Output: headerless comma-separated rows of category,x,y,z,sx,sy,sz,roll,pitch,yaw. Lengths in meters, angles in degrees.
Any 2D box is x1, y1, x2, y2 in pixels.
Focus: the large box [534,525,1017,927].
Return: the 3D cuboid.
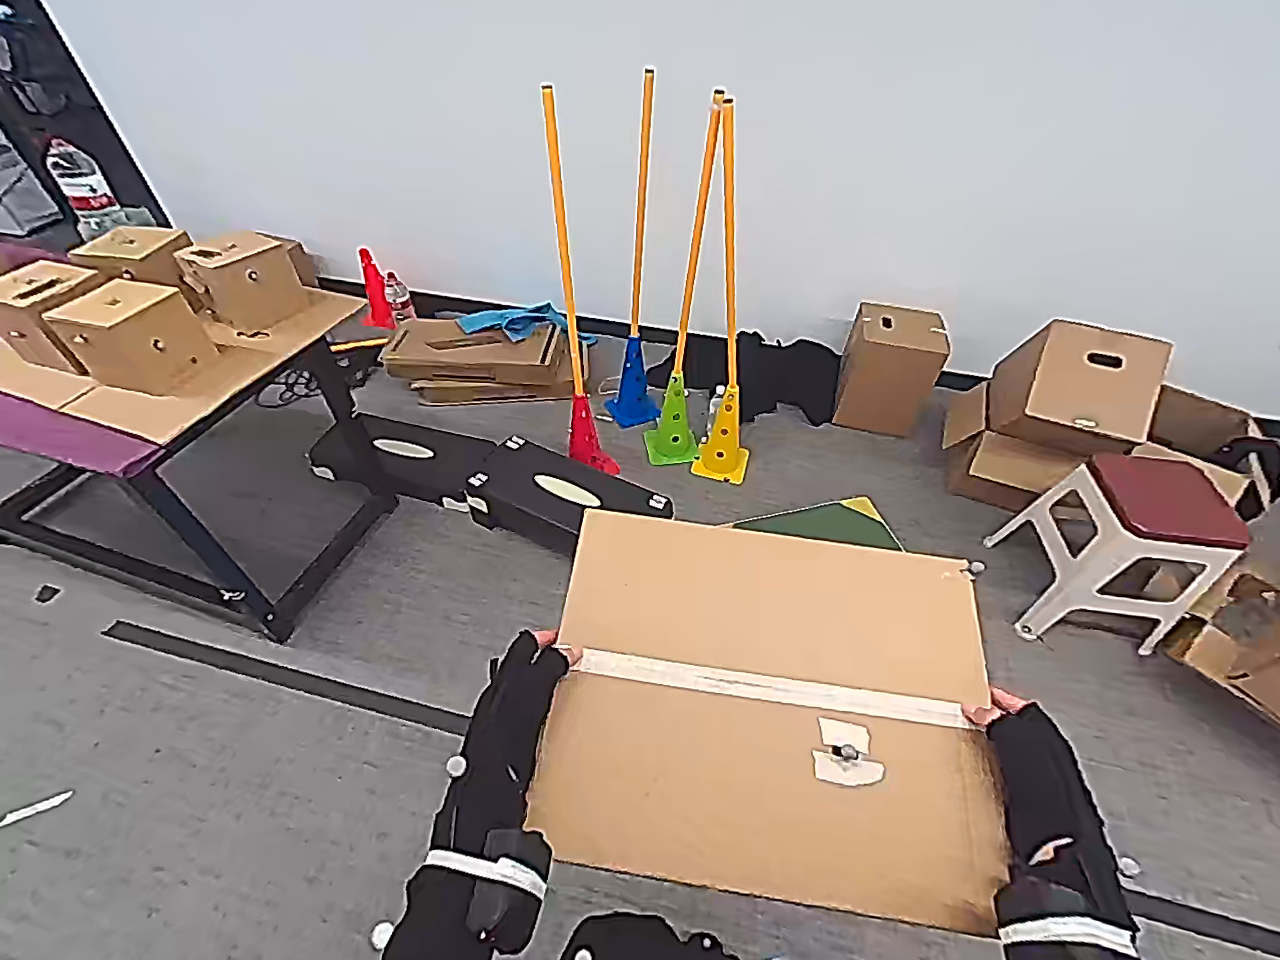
large box,0.120,0.276,0.640,0.408,0.320,0.320,7,61,3
